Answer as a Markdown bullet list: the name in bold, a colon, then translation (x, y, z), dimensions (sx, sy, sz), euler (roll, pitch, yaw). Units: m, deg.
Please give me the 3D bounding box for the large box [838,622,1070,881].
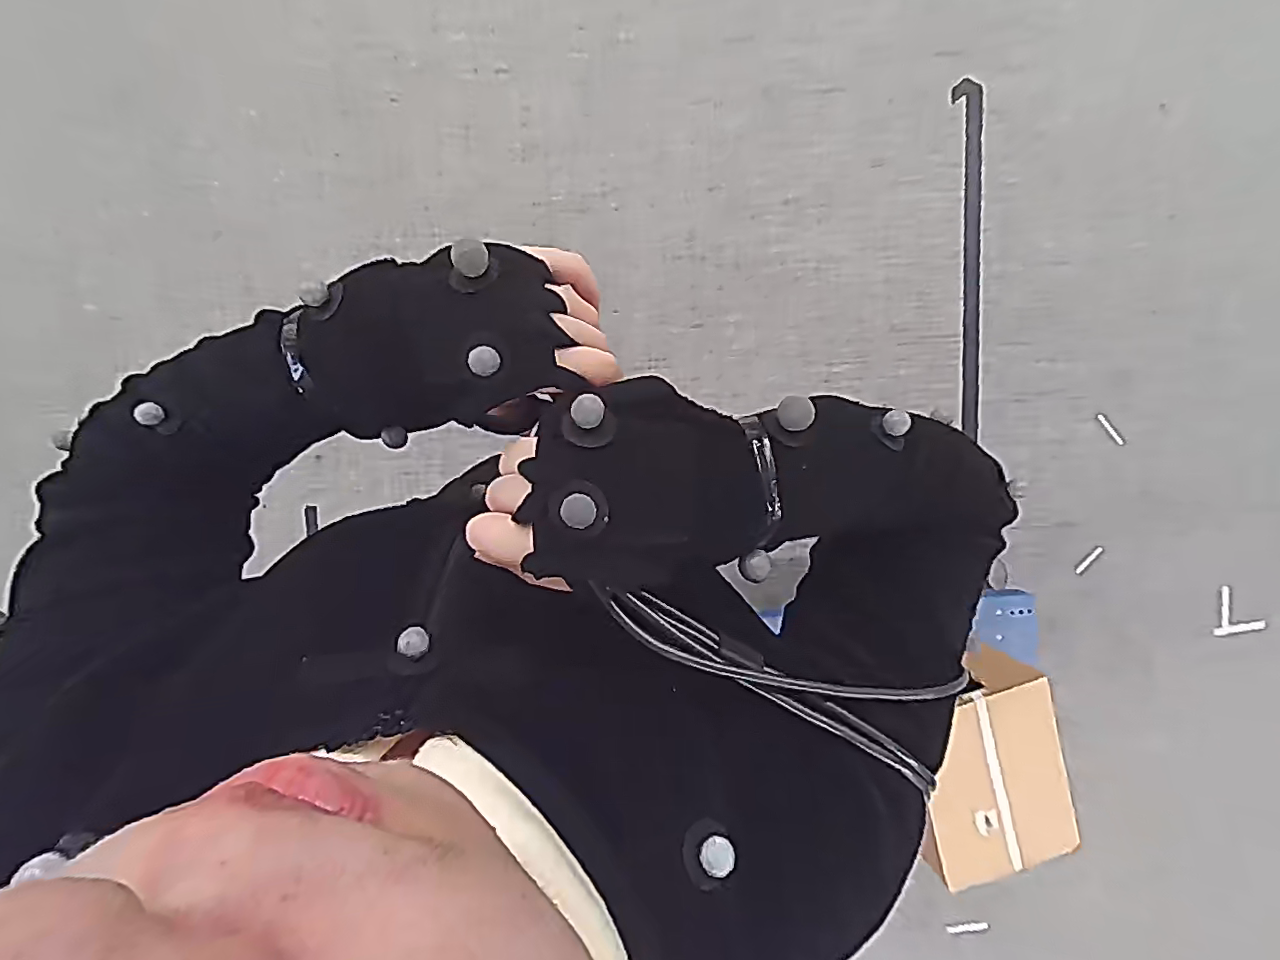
- **large box**: translation (0.719, 0.611, 1.285), dimensions (0.320, 0.320, 0.408), euler (-15, 97, -3)
